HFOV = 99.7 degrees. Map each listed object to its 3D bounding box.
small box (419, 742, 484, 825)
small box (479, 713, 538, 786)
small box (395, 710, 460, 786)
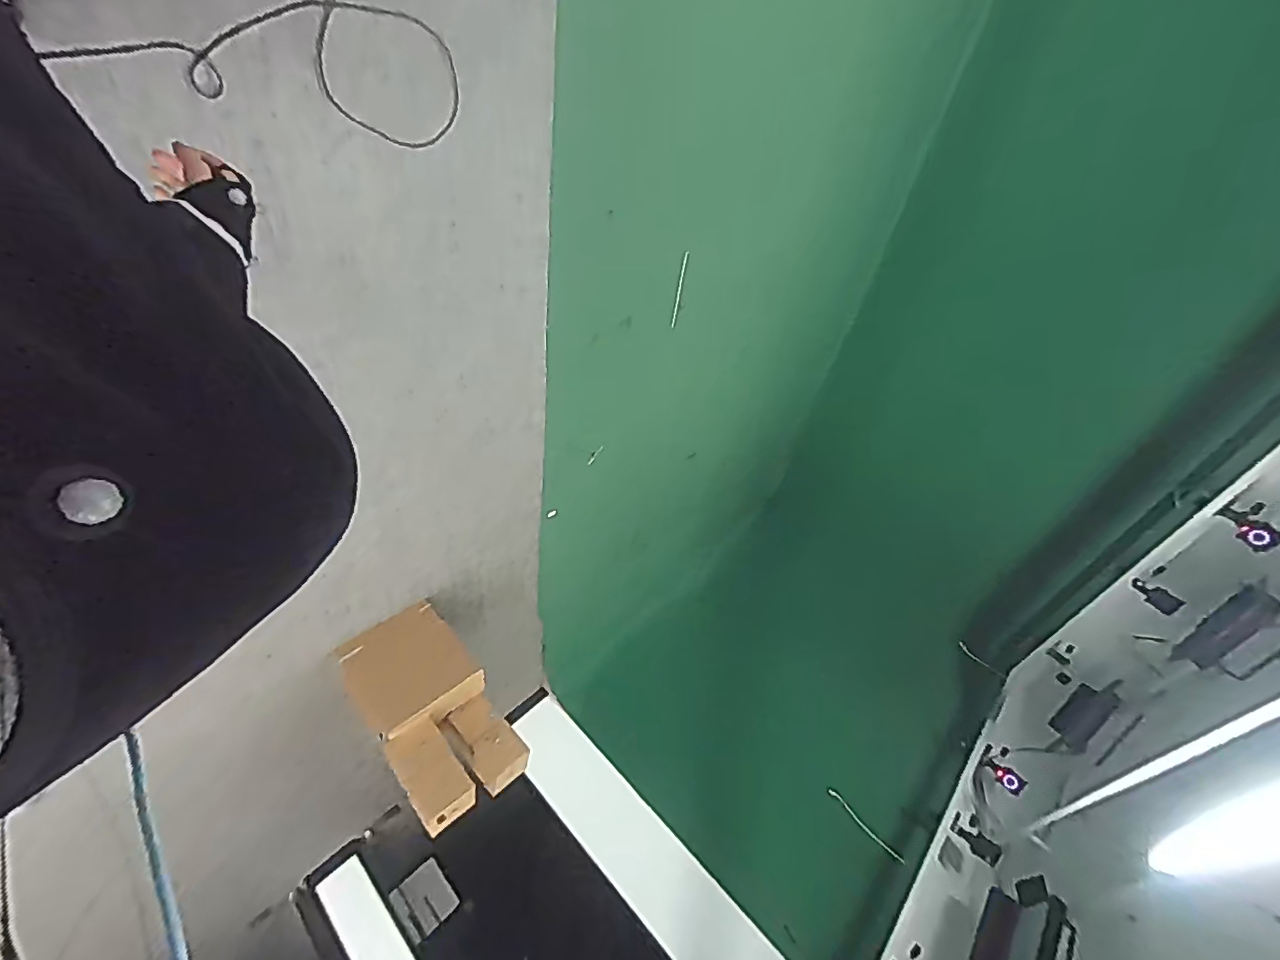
[{"bbox_3d":[-0.699,1.115,1.994,0.179,0.176,0.168,-27,143,-40],"label":"small box"},{"bbox_3d":[-0.544,1.102,2.221,0.168,0.176,0.179,-26,143,-42],"label":"small box"},{"bbox_3d":[-0.810,1.024,2.073,0.179,0.176,0.168,-28,142,-39],"label":"small box"}]
